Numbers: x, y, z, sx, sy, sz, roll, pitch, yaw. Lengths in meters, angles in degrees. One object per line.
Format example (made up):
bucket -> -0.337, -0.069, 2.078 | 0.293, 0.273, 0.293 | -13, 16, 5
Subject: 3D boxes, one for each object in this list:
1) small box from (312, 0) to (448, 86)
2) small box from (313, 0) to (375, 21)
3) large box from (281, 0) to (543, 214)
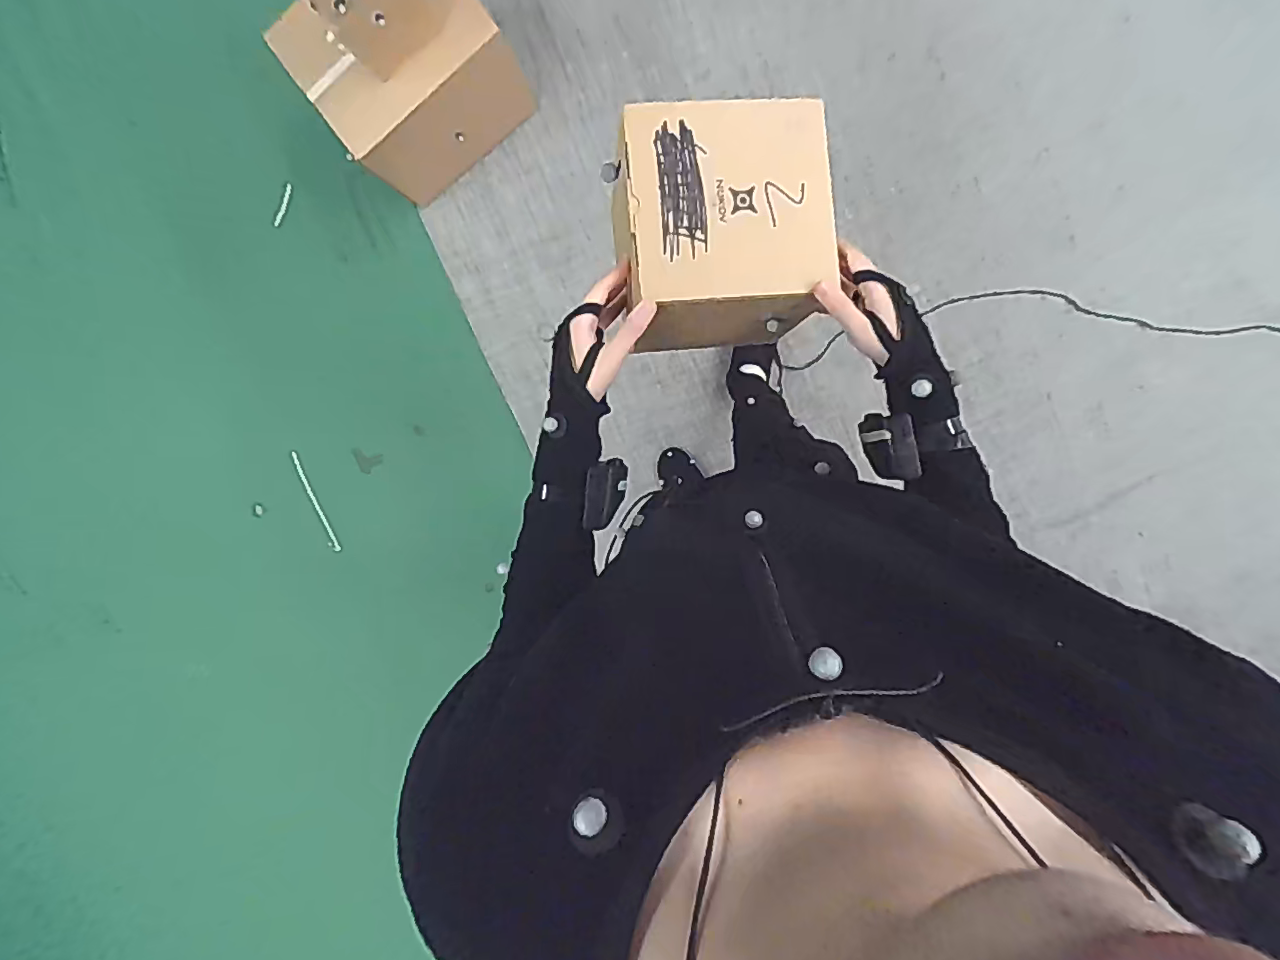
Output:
small box -> -0.503, -0.908, 1.024 | 0.179, 0.176, 0.168 | -33, 96, 8
small box -> -0.509, -0.893, 0.861 | 0.168, 0.176, 0.179 | -31, 96, 8
large box -> -0.504, -0.926, 1.270 | 0.408, 0.320, 0.320 | -36, 93, 10
